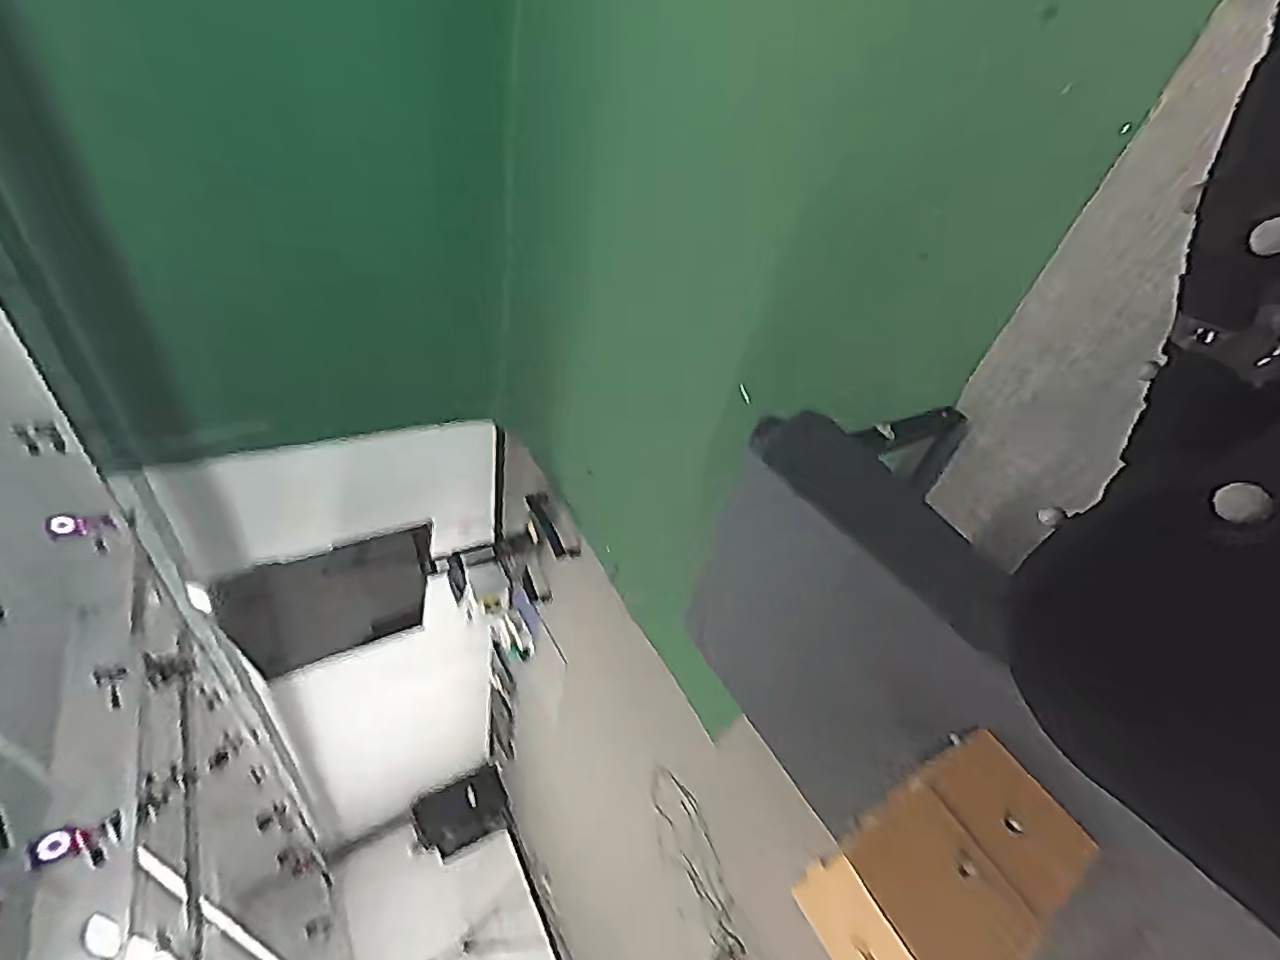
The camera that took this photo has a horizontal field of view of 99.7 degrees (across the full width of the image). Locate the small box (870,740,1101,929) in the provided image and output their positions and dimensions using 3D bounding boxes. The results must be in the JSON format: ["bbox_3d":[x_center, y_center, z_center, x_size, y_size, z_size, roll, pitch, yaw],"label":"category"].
[{"bbox_3d":[0.472,0.494,0.752,0.179,0.176,0.168,51,142,35],"label":"small box"}]

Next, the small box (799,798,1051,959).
[{"bbox_3d":[0.339,0.525,0.664,0.179,0.176,0.168,53,144,35],"label":"small box"}]
